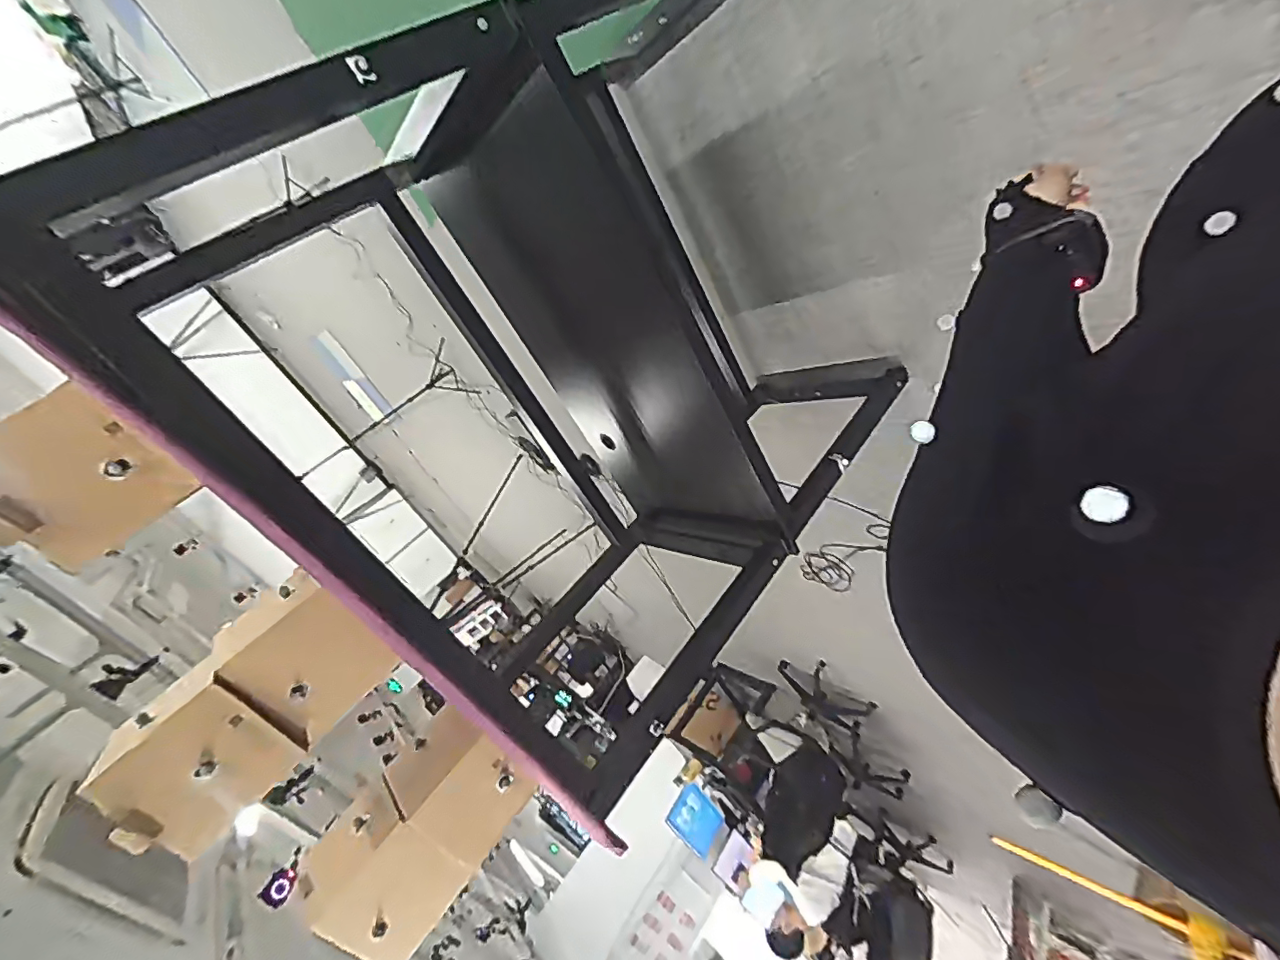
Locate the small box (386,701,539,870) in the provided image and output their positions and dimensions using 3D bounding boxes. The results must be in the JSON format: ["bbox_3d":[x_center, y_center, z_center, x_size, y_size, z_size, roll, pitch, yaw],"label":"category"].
[{"bbox_3d":[-0.309,0.522,0.954,0.179,0.176,0.168,-1,130,54],"label":"small box"}]

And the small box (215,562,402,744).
[{"bbox_3d":[-0.503,0.256,0.834,0.168,0.176,0.179,7,135,53],"label":"small box"}]

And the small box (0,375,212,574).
[{"bbox_3d":[-0.677,-0.016,0.673,0.179,0.176,0.168,10,140,51],"label":"small box"}]

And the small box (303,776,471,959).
[{"bbox_3d":[-0.410,0.633,0.885,0.168,0.176,0.179,-1,130,55],"label":"small box"}]

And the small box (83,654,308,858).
[{"bbox_3d":[-0.598,0.367,0.758,0.179,0.176,0.168,0,130,56],"label":"small box"}]
